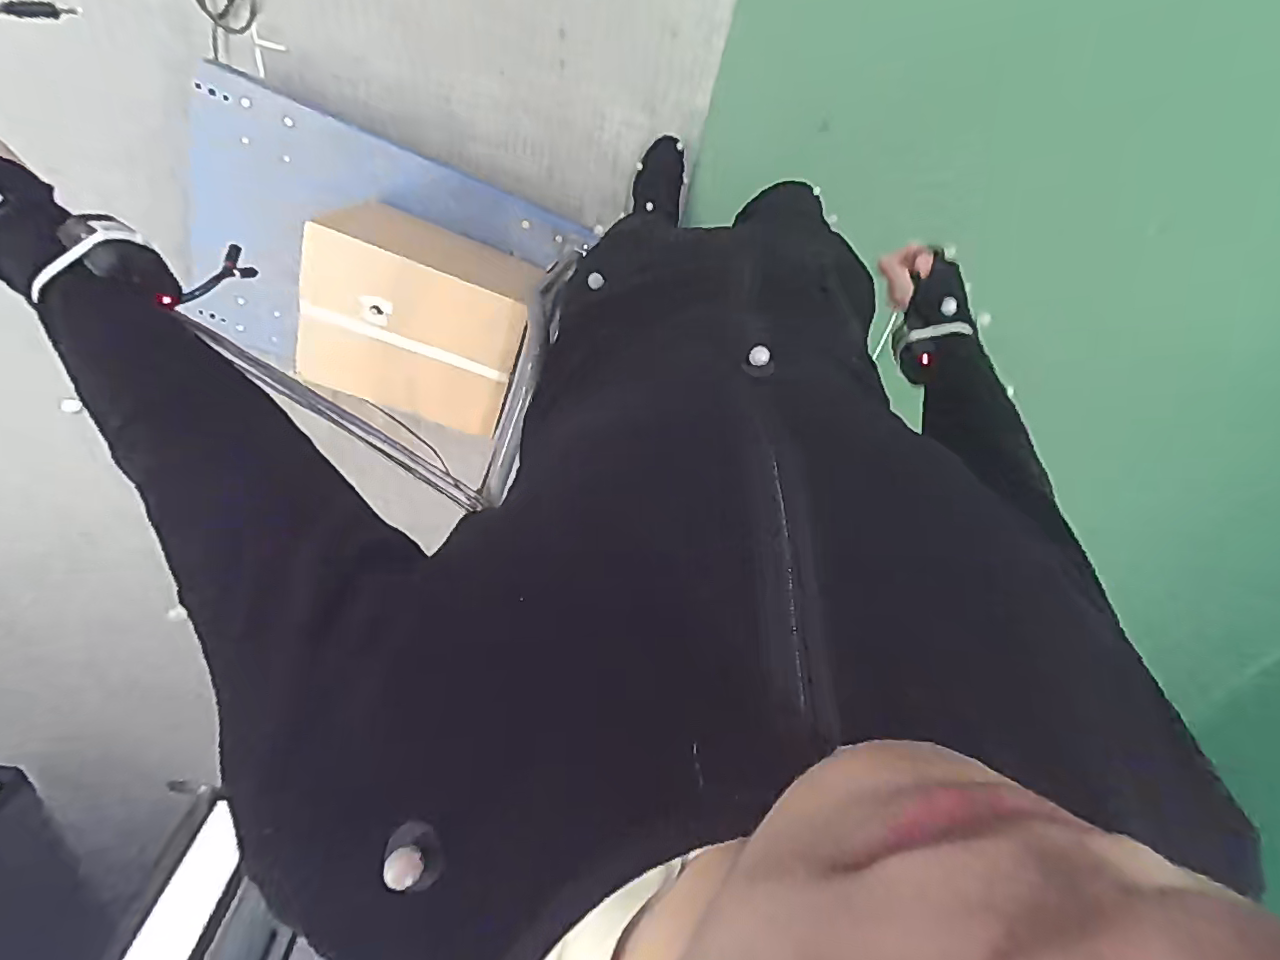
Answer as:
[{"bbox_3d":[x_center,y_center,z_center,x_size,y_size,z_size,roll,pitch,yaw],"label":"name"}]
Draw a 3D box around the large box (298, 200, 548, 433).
[{"bbox_3d":[-0.446,-0.356,1.171,0.408,0.320,0.320,19,120,-12],"label":"large box"}]
